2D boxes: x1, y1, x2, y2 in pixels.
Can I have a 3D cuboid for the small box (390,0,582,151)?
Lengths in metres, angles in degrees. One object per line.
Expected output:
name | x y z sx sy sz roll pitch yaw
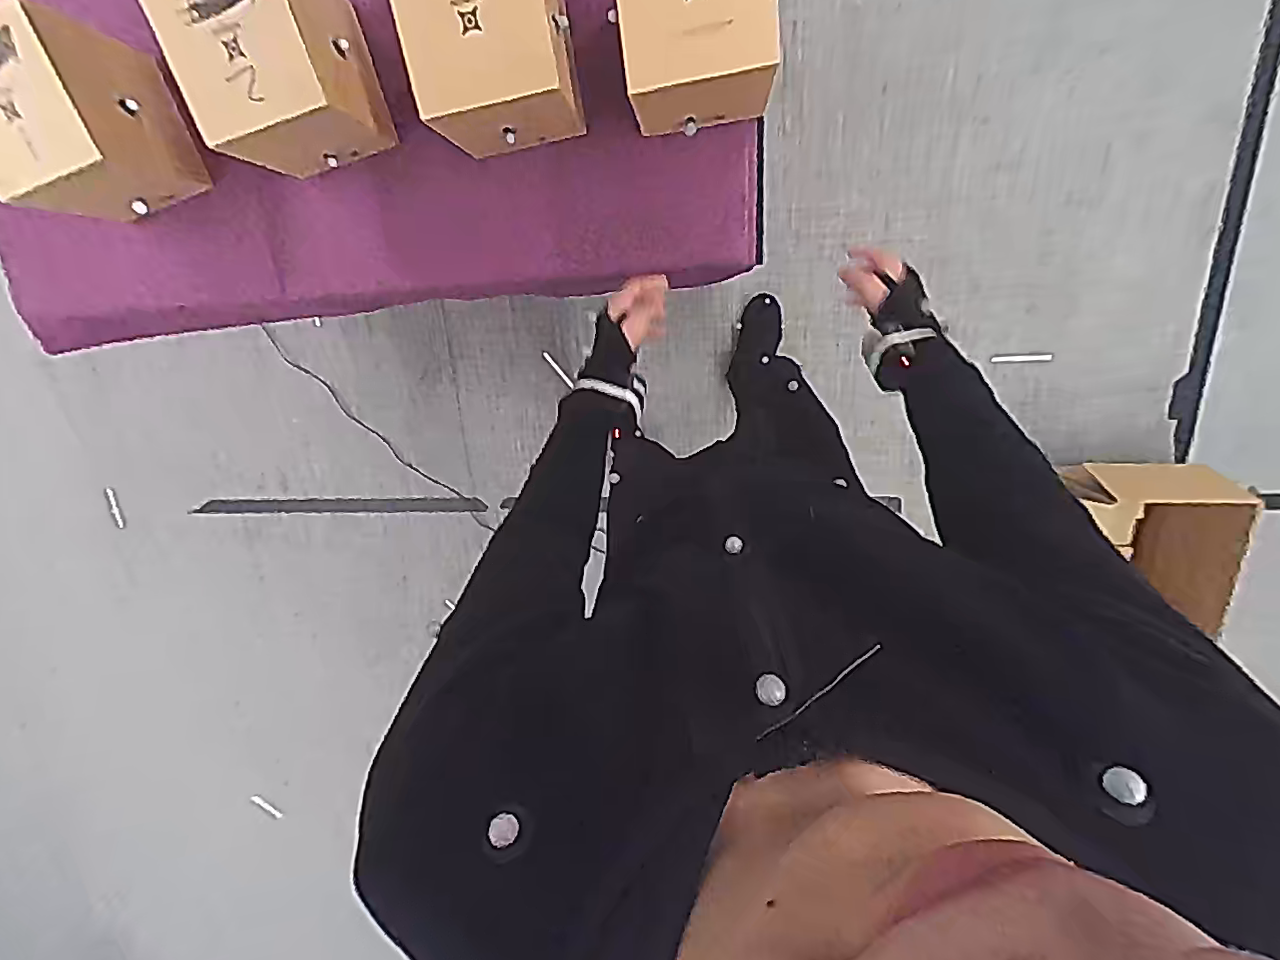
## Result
small box | -0.176 -0.521 0.651 0.168 0.176 0.179 -8 106 7

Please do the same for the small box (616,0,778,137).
small box | 0.062 -0.532 0.626 0.168 0.176 0.179 -5 106 8

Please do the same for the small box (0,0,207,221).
small box | -0.743 -0.469 0.716 0.168 0.176 0.179 -15 106 9
